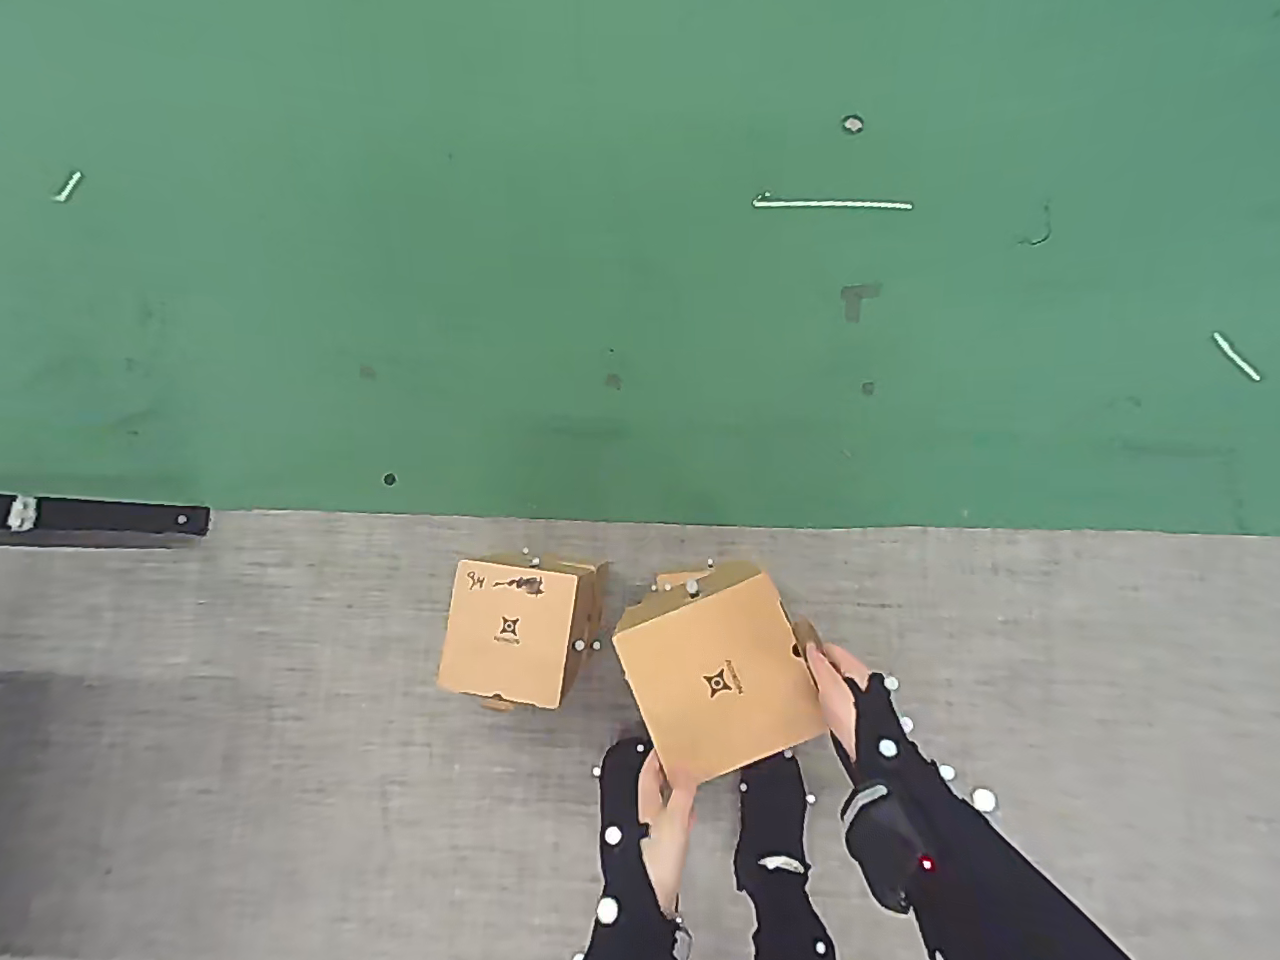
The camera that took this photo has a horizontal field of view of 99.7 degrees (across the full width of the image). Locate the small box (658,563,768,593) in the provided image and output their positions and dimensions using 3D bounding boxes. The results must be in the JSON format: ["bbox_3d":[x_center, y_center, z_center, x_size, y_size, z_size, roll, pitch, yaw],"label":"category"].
[{"bbox_3d":[0.127,0.235,0.927,0.179,0.176,0.168,-6,84,1],"label":"small box"}]

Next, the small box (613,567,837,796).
[{"bbox_3d":[0.086,0.207,0.605,0.179,0.176,0.168,-23,84,0],"label":"small box"}]
